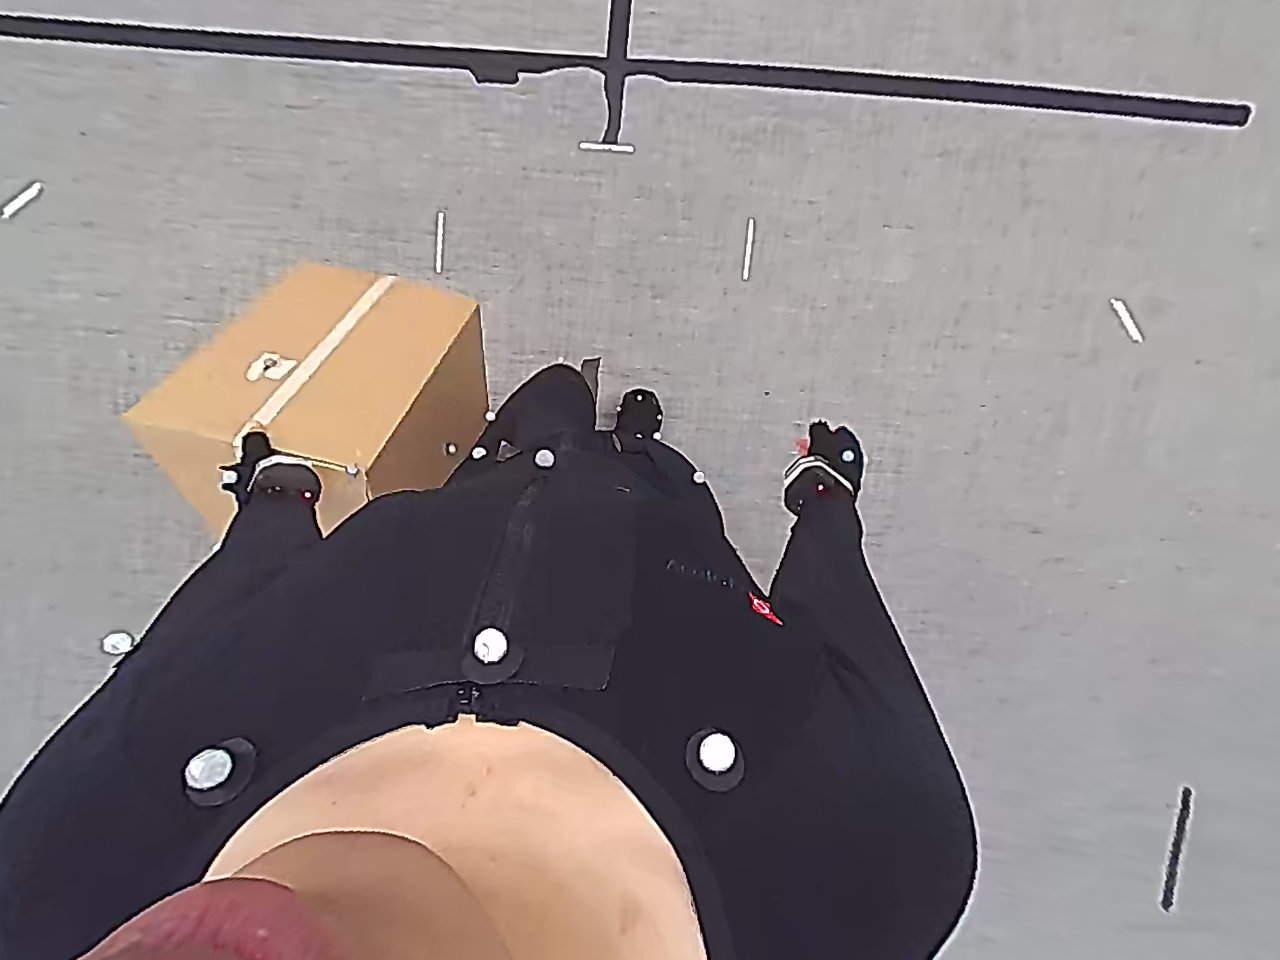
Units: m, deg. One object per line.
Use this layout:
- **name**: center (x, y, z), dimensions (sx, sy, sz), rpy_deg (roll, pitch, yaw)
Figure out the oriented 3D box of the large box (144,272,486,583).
- **large box**: center (-0.487, -0.093, 0.939), dimensions (0.320, 0.408, 0.320), rpy_deg (12, 140, 1)
